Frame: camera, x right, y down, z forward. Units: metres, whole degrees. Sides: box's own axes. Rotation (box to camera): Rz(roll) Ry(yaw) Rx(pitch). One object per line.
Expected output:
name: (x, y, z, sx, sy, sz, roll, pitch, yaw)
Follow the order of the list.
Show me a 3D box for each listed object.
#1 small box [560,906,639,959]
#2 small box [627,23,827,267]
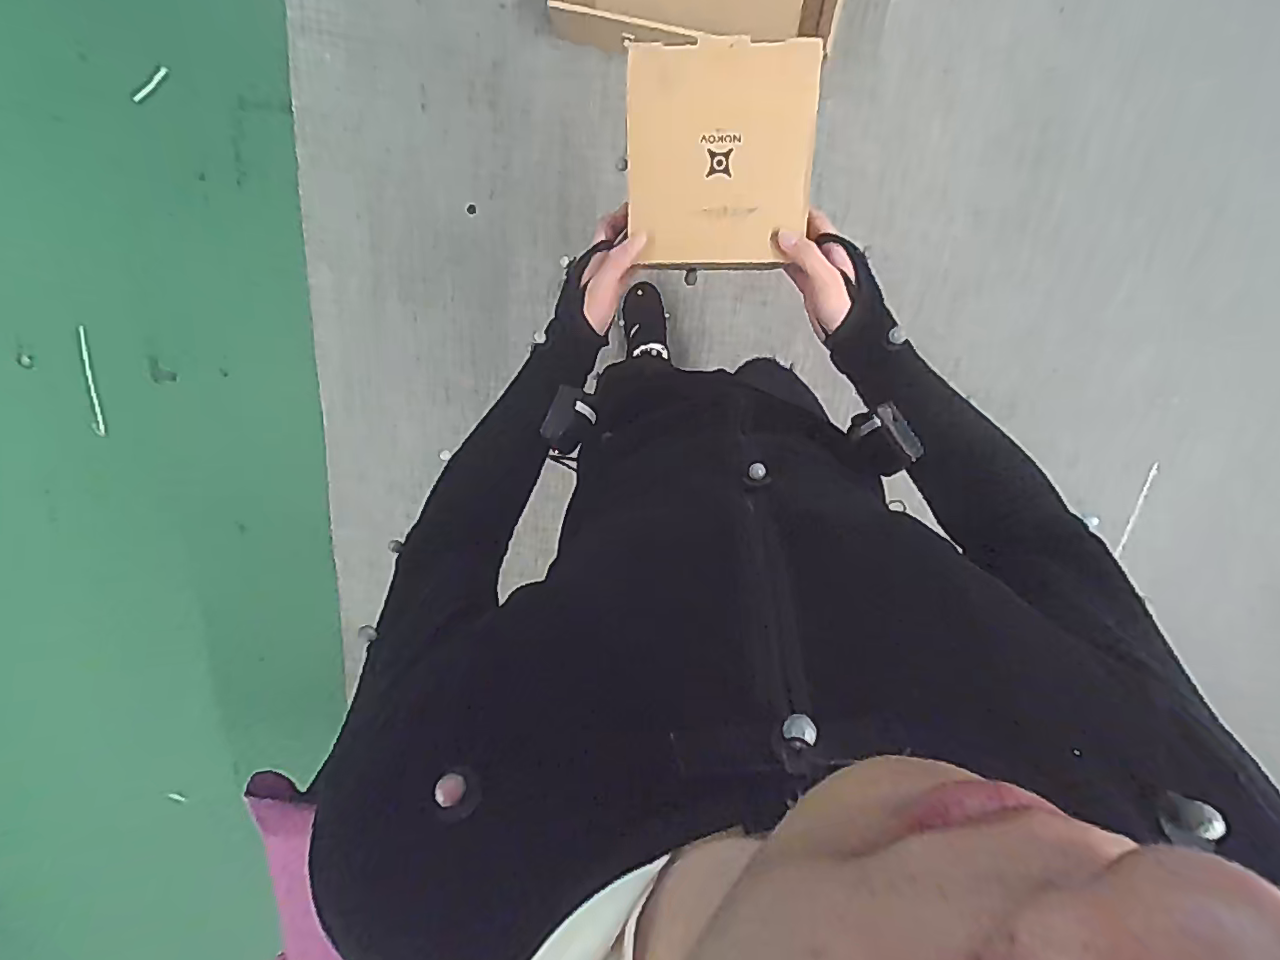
small box: (-0.088, 1.065, 1.158, 0.168, 0.176, 0.179, 3, 108, -1)
small box: (0.074, -0.315, 0.544, 0.168, 0.176, 0.179, 1, 109, 3)
